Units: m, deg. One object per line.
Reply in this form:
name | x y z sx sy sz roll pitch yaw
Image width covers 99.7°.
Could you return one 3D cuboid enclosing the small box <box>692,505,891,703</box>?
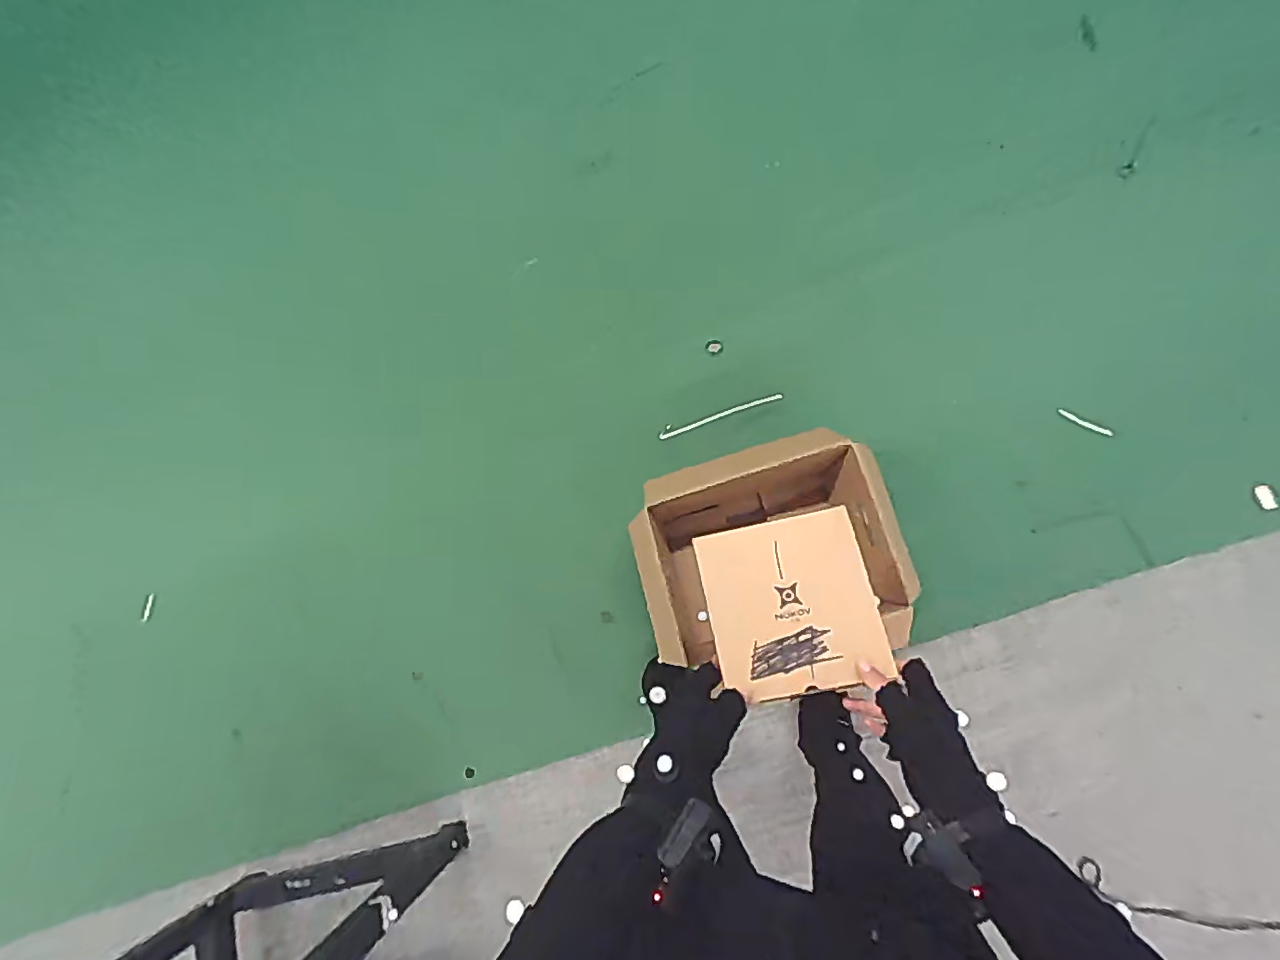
small box | 0.164 0.144 0.624 0.168 0.176 0.179 -13 72 7
